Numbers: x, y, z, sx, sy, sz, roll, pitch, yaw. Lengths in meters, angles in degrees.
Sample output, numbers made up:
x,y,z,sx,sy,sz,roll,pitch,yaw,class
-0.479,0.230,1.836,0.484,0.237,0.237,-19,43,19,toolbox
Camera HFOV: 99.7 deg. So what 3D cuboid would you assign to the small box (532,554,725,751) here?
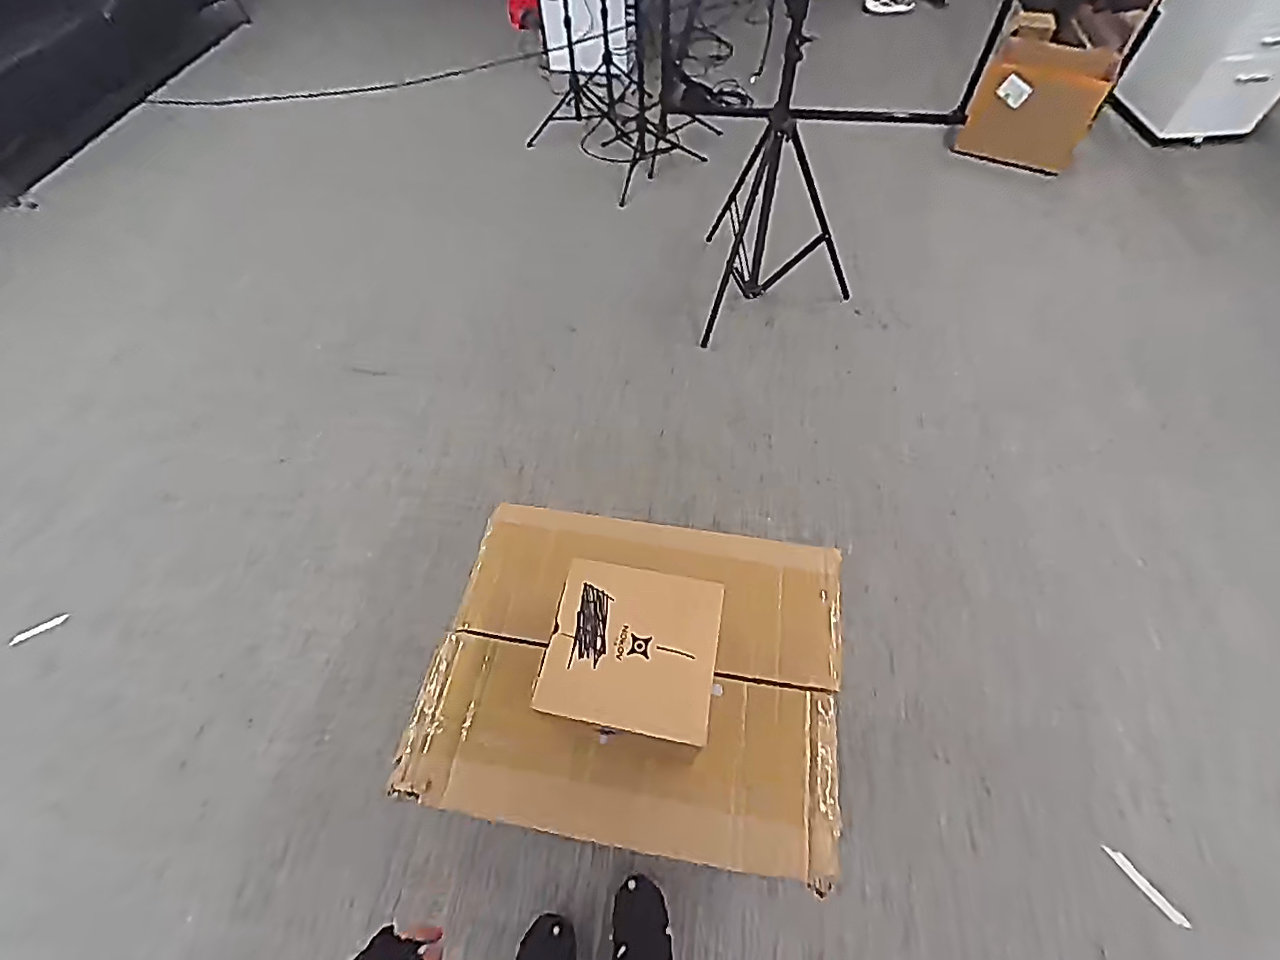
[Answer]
x,y,z,sx,sy,sz,roll,pitch,yaw,class
-0.004,0.205,0.628,0.179,0.176,0.168,9,59,7,small box
